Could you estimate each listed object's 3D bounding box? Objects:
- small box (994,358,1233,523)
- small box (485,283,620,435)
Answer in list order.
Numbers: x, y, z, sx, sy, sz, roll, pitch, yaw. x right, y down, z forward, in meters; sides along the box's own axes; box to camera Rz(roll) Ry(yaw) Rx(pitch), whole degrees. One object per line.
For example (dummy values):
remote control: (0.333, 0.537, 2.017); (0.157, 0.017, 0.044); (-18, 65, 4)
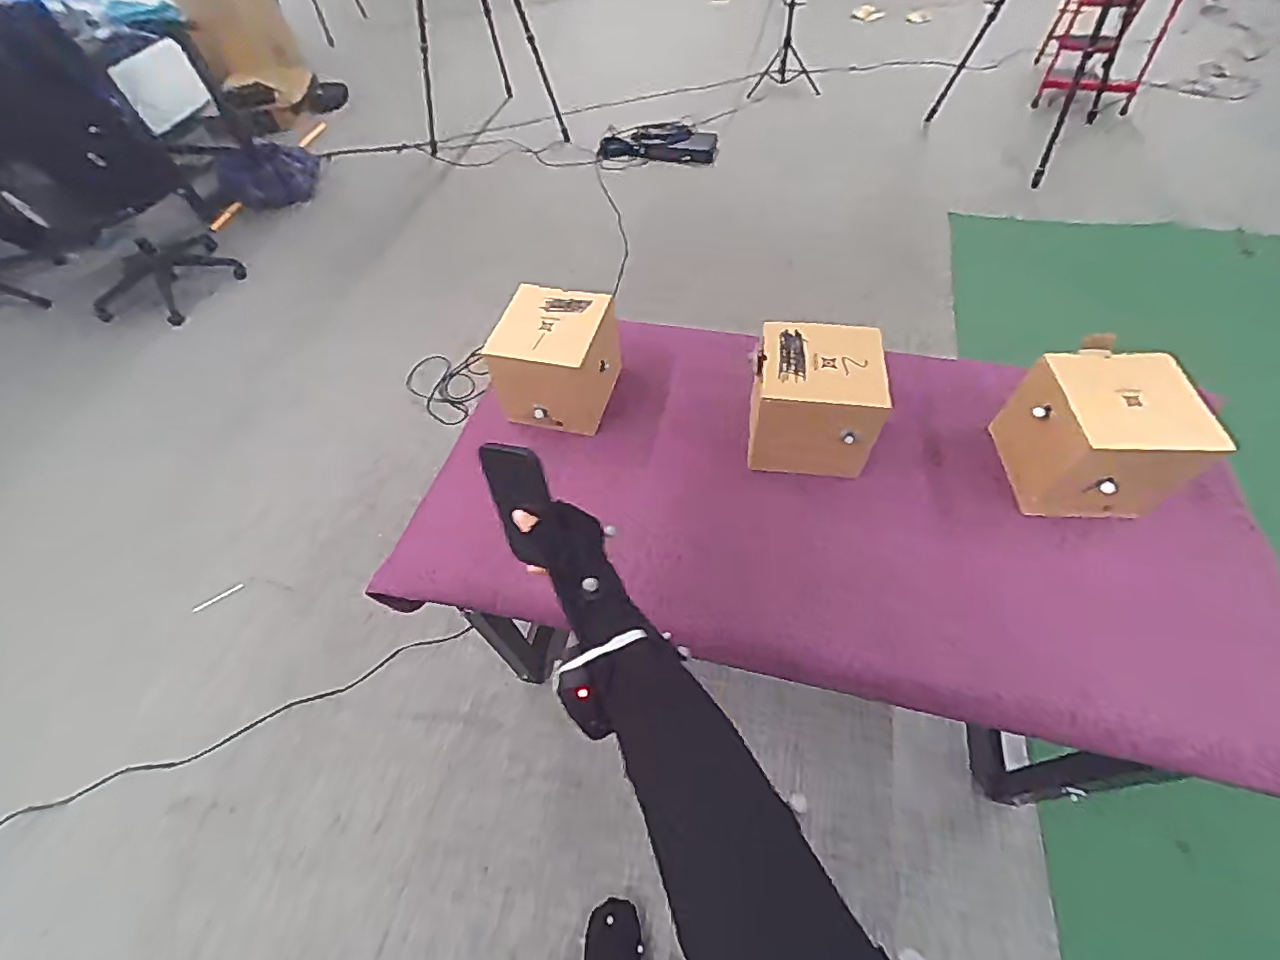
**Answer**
small box: (0.648, -0.052, 0.771); (0.168, 0.176, 0.179); (1, 54, 6)
small box: (-0.136, -0.205, 0.928); (0.168, 0.176, 0.179); (11, 58, 11)
